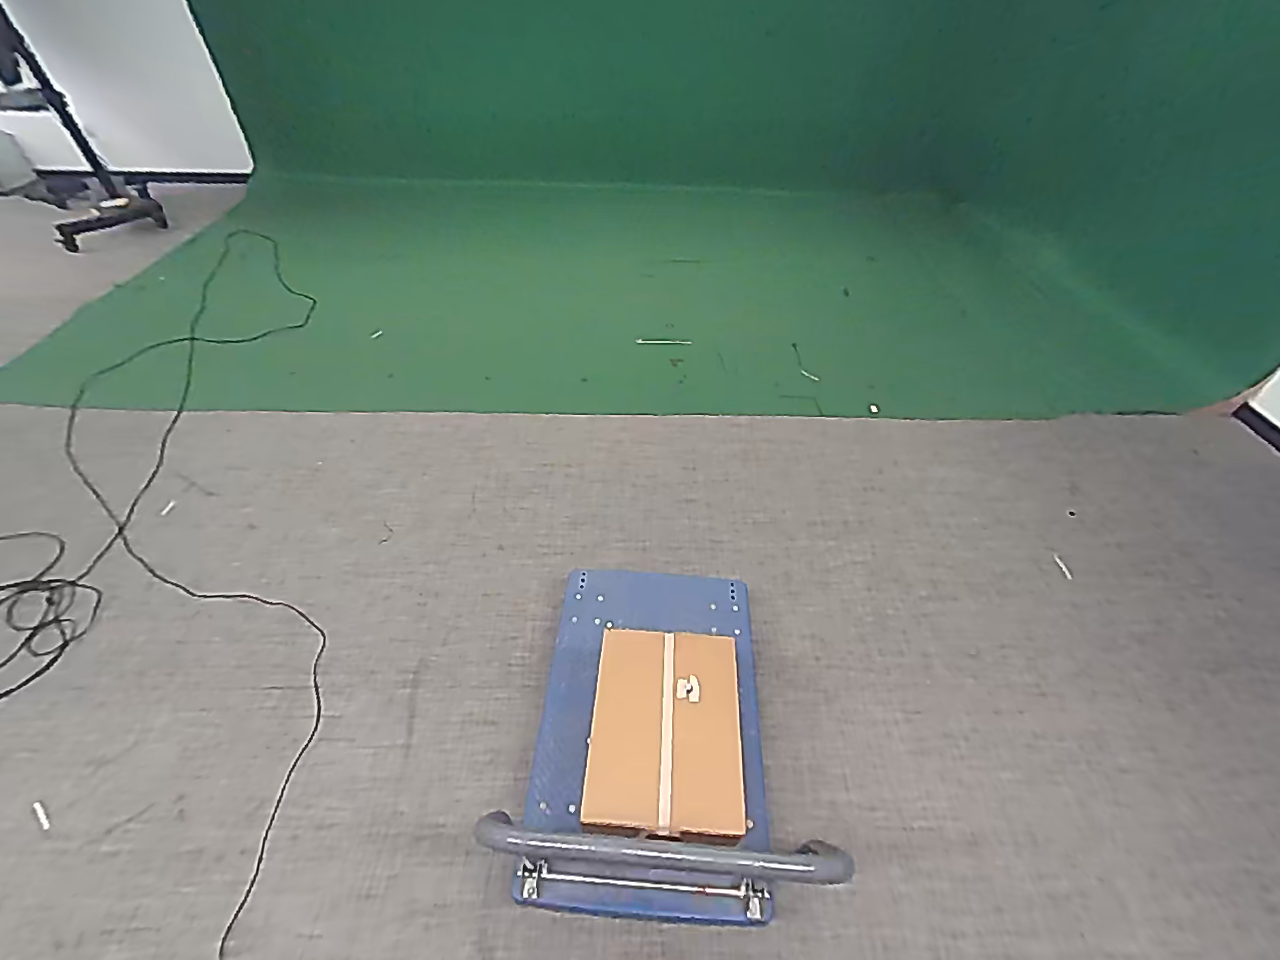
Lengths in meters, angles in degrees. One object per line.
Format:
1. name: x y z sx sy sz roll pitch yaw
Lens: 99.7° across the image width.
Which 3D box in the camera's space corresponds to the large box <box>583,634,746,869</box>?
1. large box: 0.050 0.621 1.246 0.320 0.320 0.408 4 44 1
